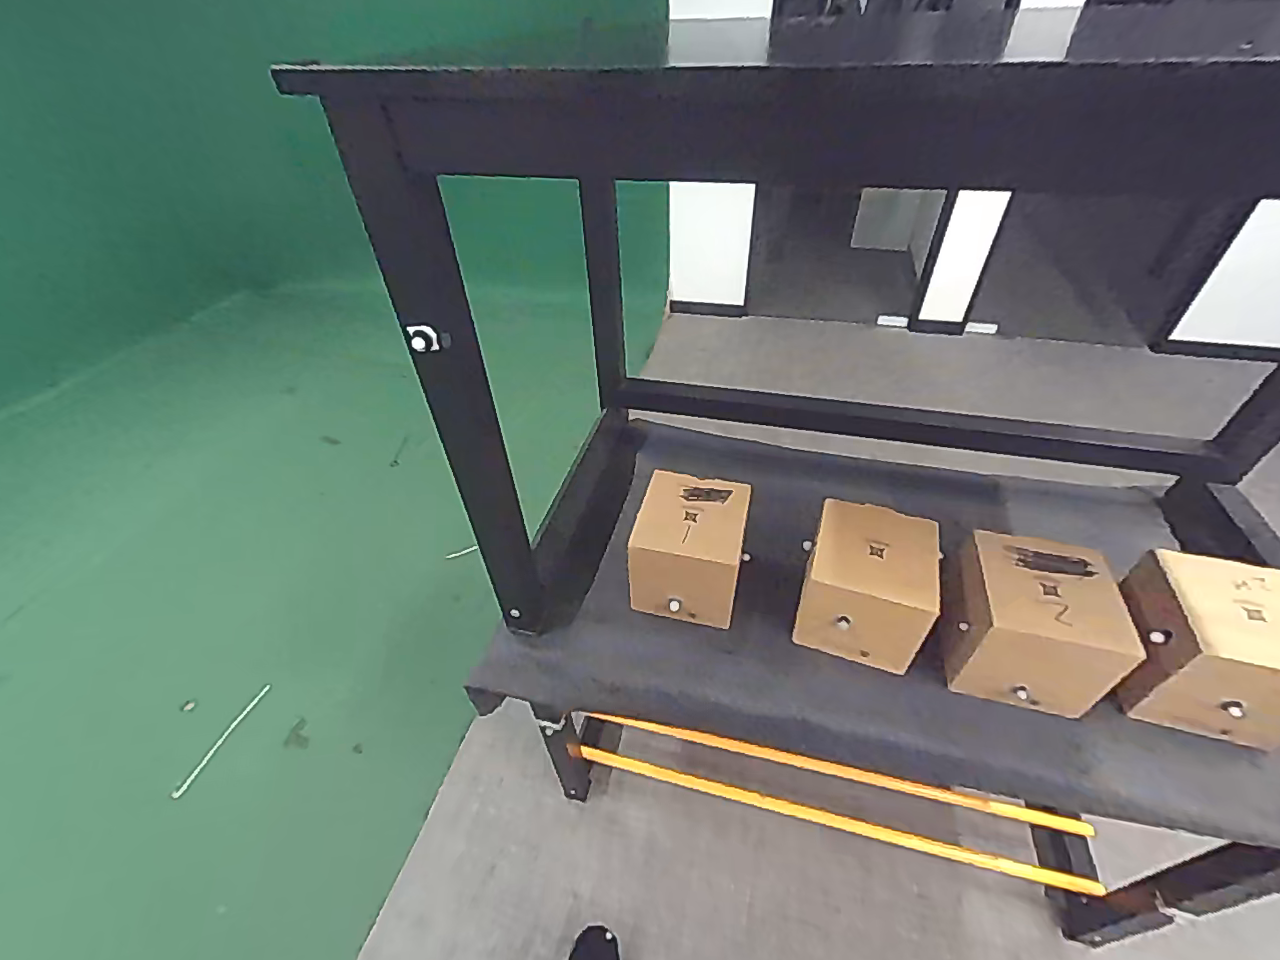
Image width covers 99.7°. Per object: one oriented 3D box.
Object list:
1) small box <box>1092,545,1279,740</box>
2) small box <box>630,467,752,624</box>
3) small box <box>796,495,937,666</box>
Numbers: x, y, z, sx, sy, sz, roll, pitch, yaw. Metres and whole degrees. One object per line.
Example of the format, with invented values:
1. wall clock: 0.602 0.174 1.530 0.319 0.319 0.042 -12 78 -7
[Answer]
1. small box: 0.769 0.221 0.736 0.168 0.176 0.179 11 43 14
2. small box: 0.086 0.107 0.896 0.168 0.176 0.179 9 44 12
3. small box: 0.344 0.155 0.834 0.168 0.176 0.179 13 44 17
